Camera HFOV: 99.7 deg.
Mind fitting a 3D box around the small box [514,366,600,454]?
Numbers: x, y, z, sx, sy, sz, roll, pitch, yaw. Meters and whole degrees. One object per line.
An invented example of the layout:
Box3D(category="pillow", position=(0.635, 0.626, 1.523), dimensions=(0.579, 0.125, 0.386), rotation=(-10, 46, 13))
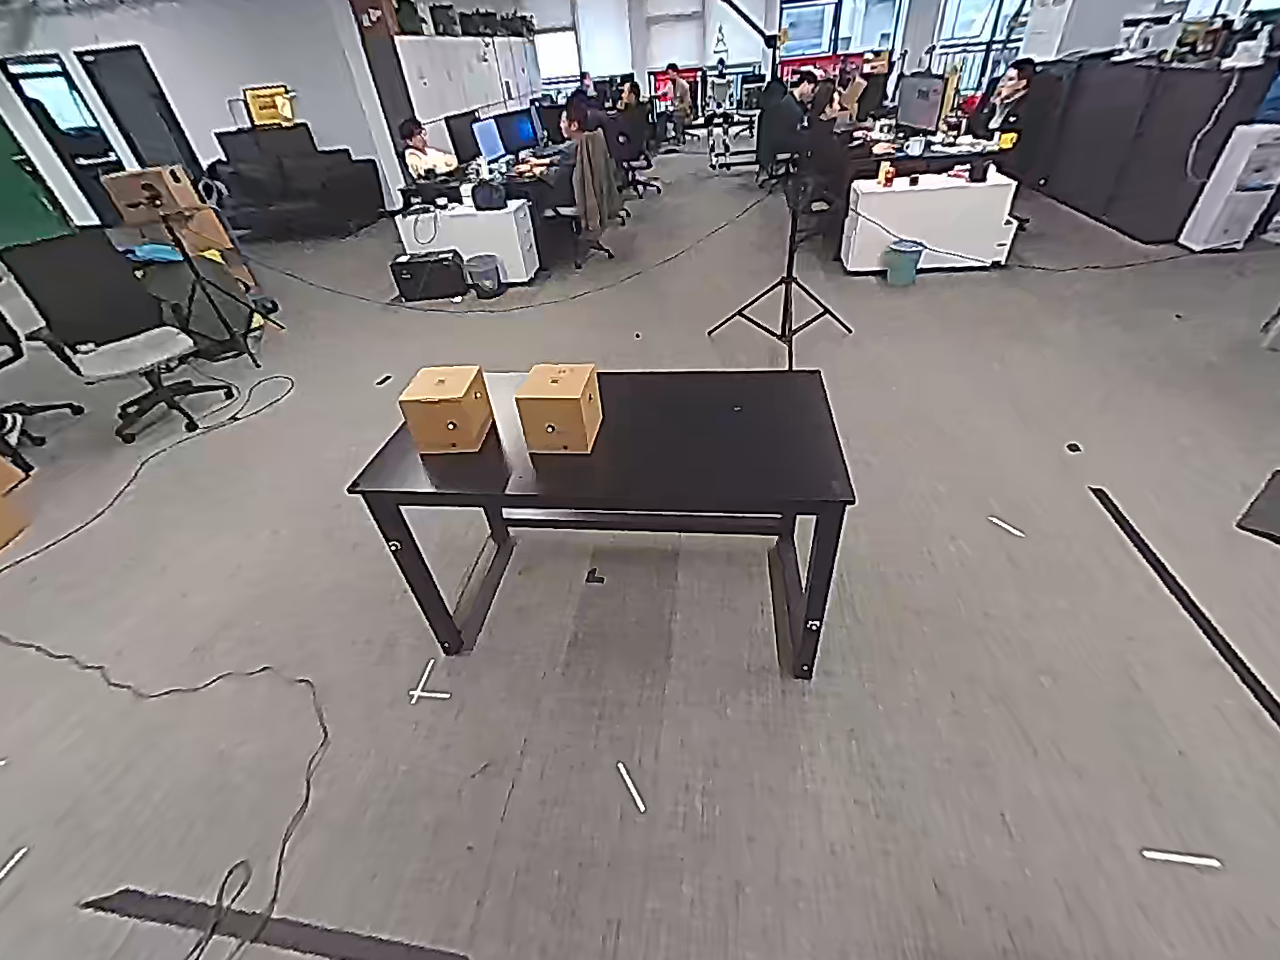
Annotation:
Box3D(category="small box", position=(-0.206, -0.181, 1.403), dimensions=(0.168, 0.176, 0.179), rotation=(2, 39, 9))

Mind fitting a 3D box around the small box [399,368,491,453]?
Box3D(category="small box", position=(-0.510, -0.183, 1.447), dimensions=(0.168, 0.176, 0.179), rotation=(-1, 37, 4))
